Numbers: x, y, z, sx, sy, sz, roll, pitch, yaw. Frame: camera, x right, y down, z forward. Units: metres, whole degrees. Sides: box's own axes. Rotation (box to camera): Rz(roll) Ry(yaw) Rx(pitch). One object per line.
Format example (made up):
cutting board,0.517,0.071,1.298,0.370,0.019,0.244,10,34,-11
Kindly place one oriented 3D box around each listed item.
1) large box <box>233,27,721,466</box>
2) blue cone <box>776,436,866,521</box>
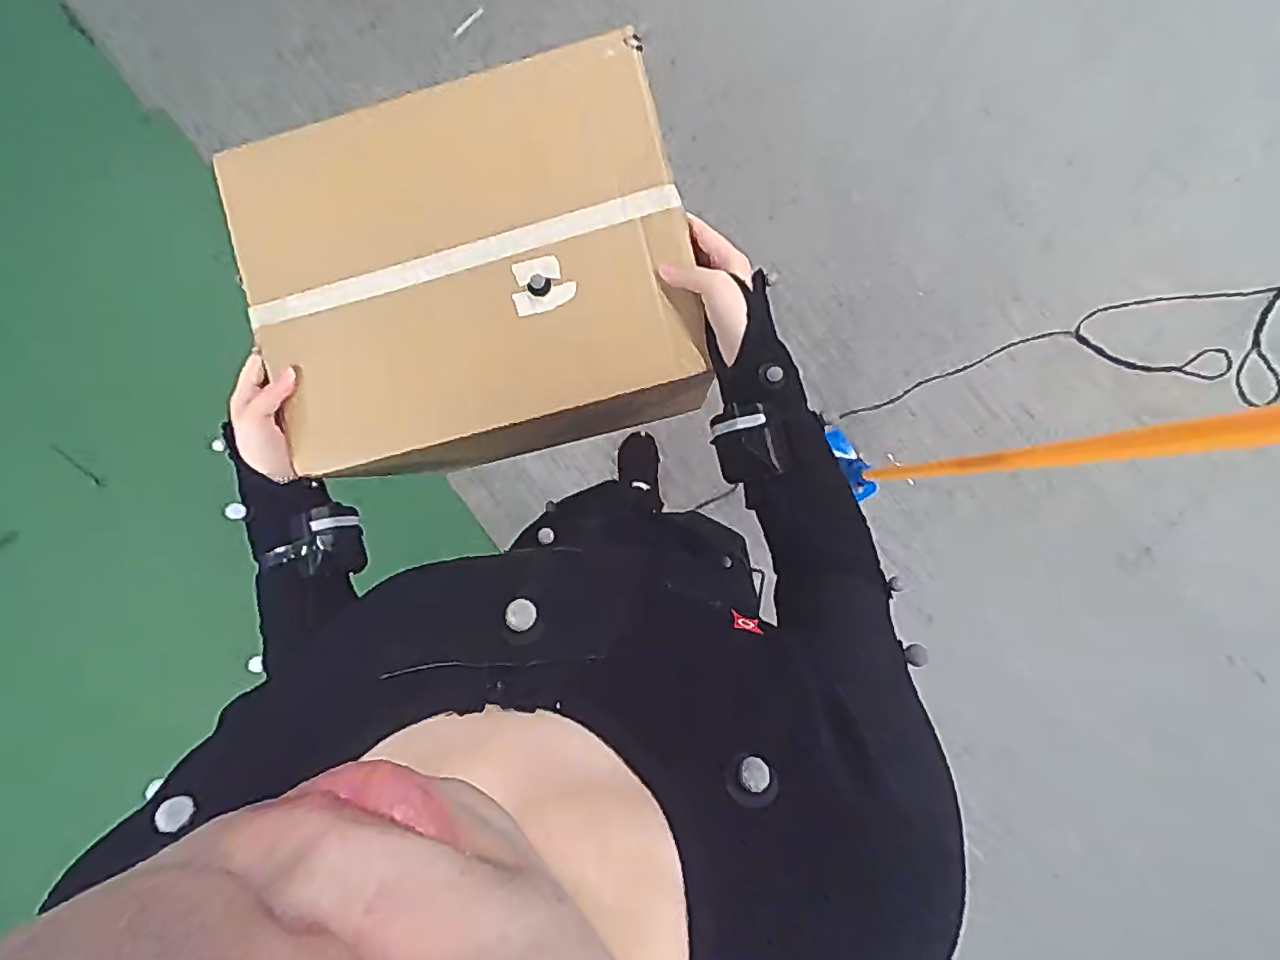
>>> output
large box,-0.150,-0.215,0.645,0.408,0.320,0.320,-14,91,2
blue cone,0.469,-0.005,1.284,0.192,0.380,0.193,-30,87,6
